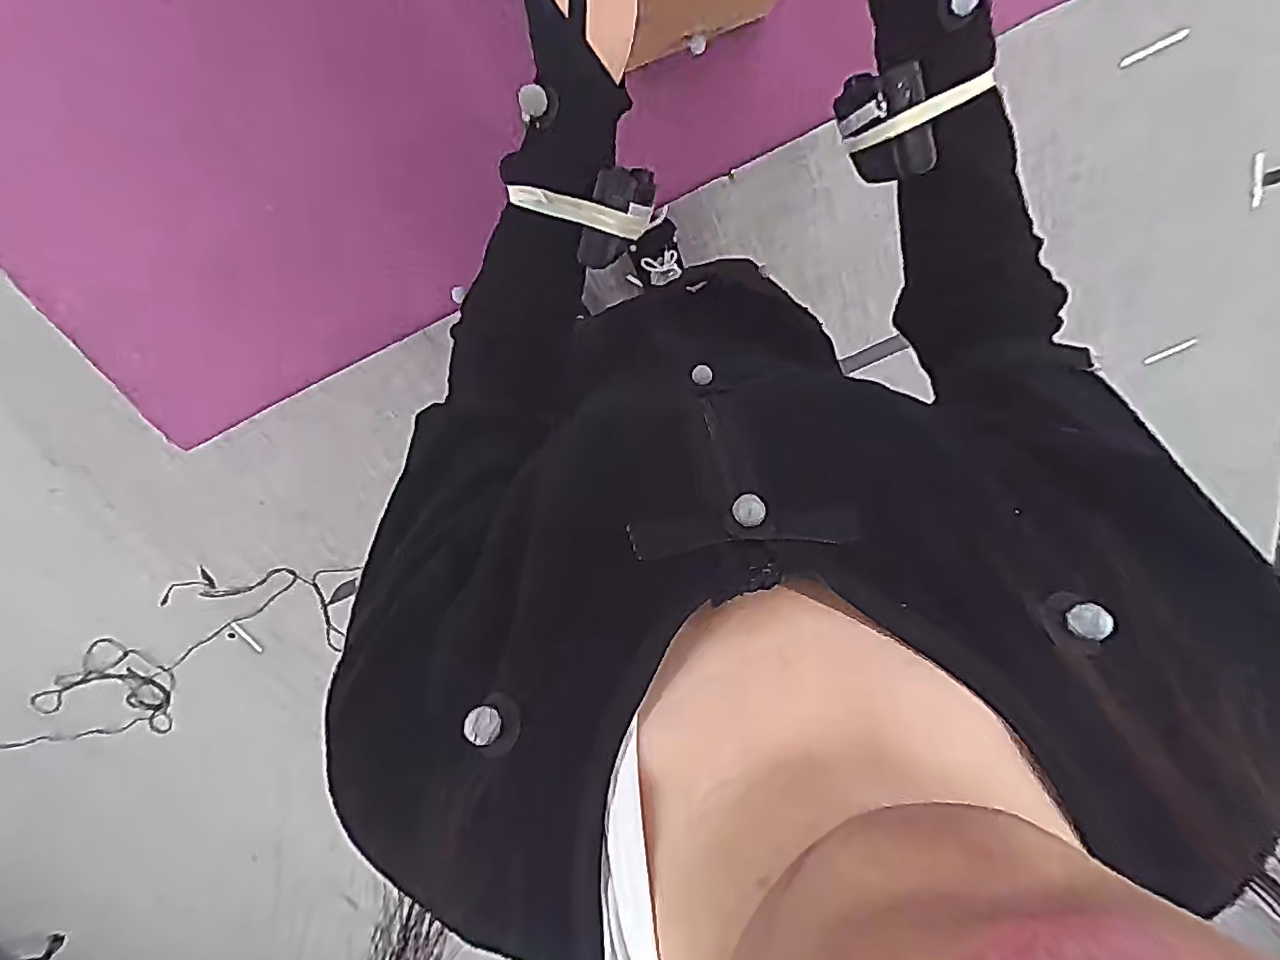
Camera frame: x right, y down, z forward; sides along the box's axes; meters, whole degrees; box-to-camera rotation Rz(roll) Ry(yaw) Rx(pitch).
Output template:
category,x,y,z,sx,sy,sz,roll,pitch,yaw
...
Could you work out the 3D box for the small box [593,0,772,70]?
category,x,y,z,sx,sy,sz,roll,pitch,yaw
small box,0.029,-0.494,0.458,0.168,0.176,0.179,-19,116,4
